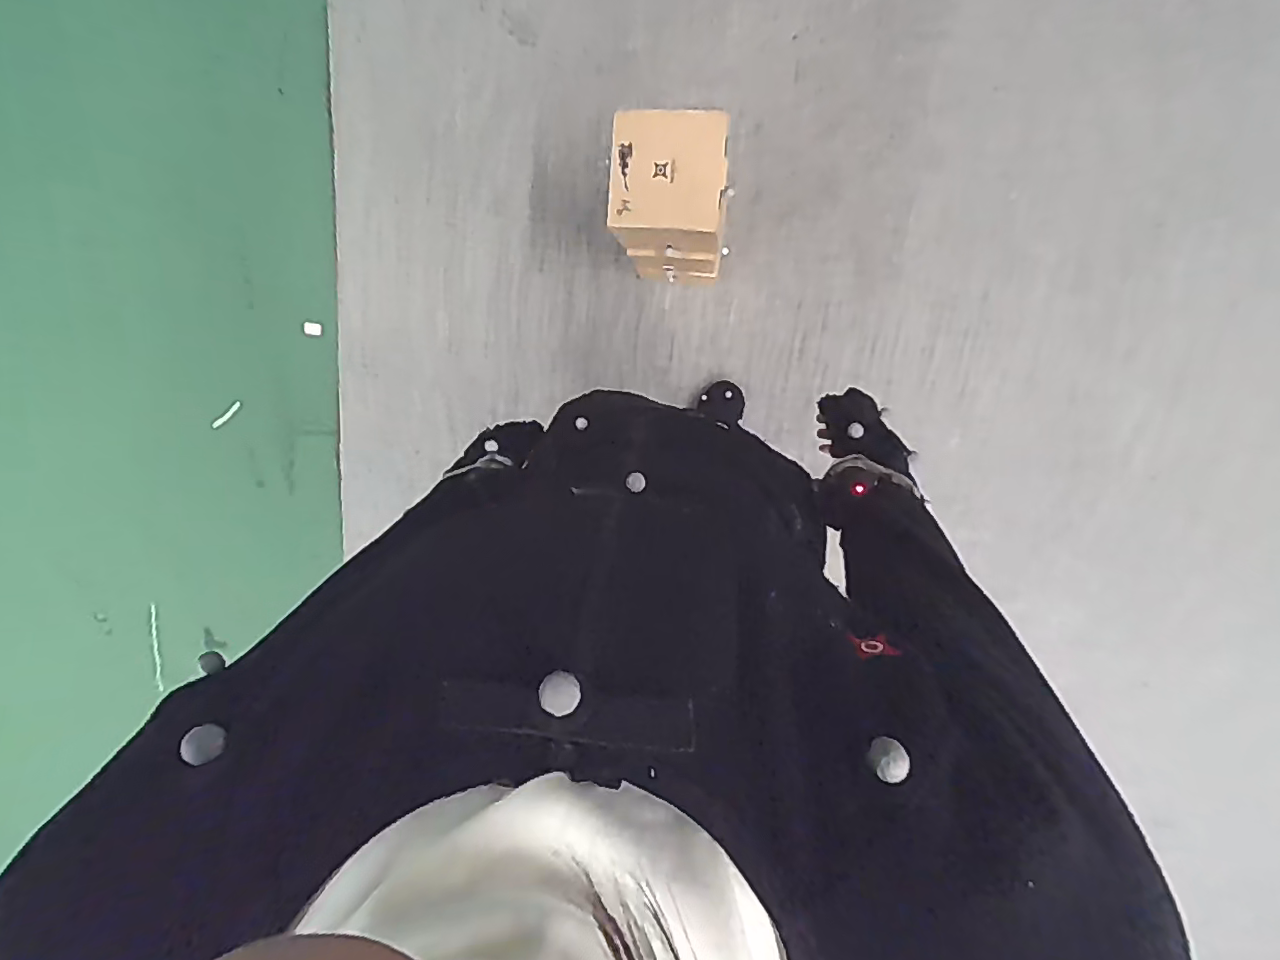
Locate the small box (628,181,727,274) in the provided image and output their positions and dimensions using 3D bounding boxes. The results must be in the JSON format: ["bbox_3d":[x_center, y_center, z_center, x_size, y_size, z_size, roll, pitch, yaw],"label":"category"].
[{"bbox_3d":[0.078,-0.512,1.056,0.168,0.176,0.179,7,104,8],"label":"small box"}]

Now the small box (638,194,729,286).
[{"bbox_3d":[0.100,-0.538,1.215,0.179,0.176,0.168,8,103,6],"label":"small box"}]

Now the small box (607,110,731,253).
[{"bbox_3d":[0.053,-0.483,0.897,0.179,0.176,0.168,8,103,7],"label":"small box"}]
